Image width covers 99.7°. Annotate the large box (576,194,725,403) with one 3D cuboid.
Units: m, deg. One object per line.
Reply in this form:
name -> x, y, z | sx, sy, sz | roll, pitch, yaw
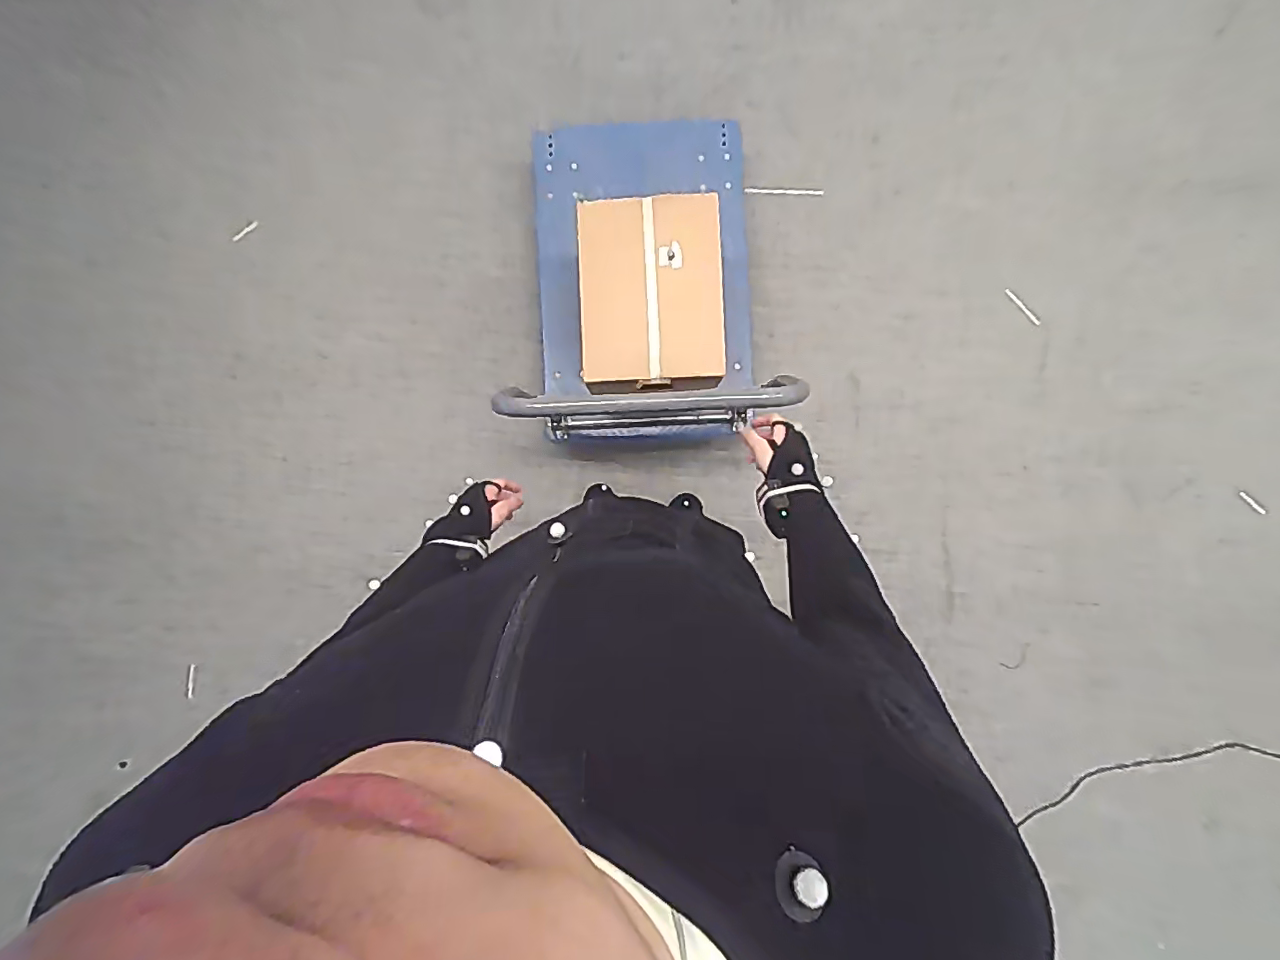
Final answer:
large box -> 0.027, -0.421, 1.338 | 0.320, 0.320, 0.408 | -2, 89, 1
